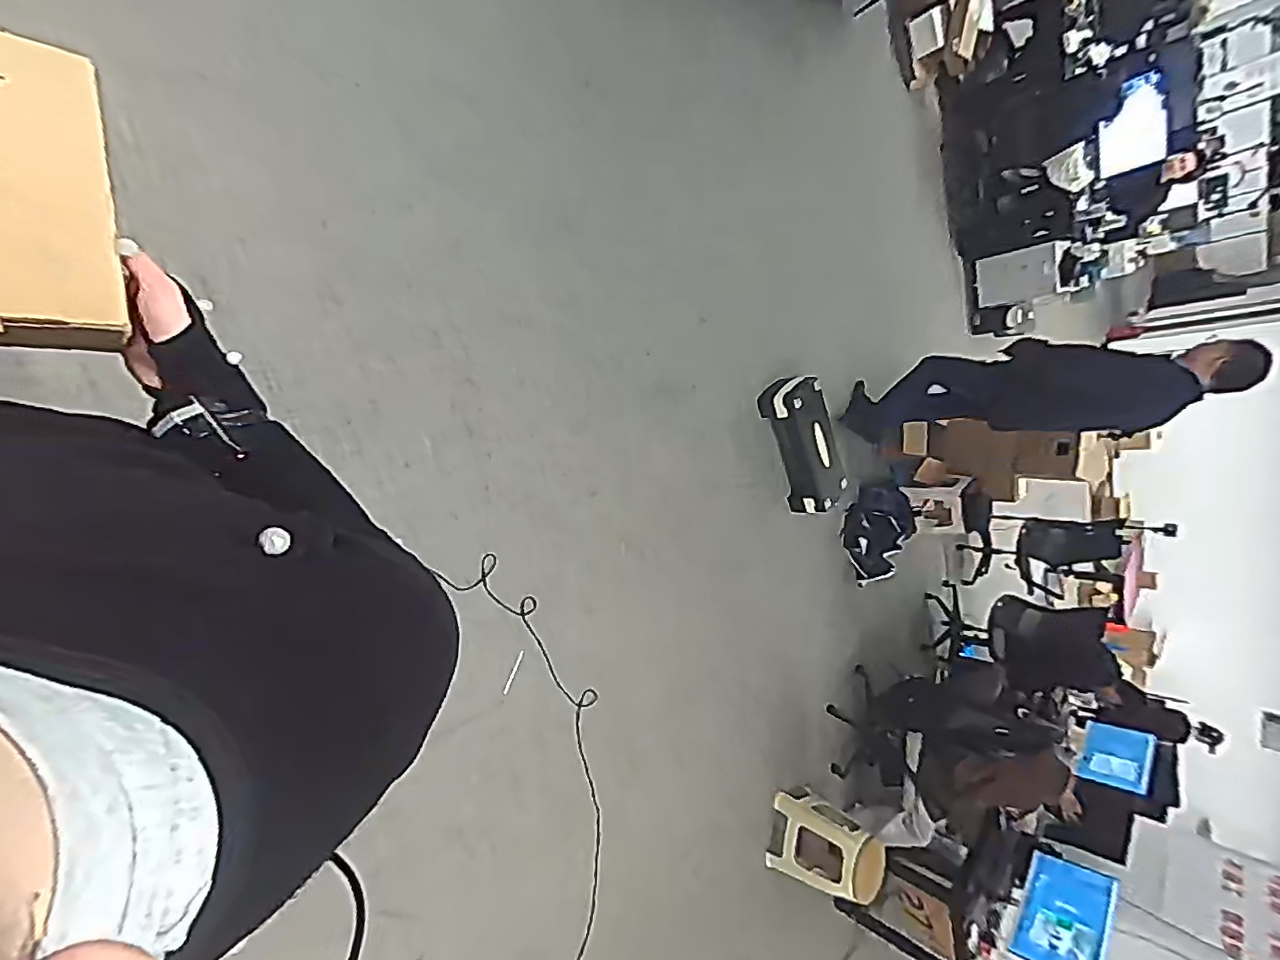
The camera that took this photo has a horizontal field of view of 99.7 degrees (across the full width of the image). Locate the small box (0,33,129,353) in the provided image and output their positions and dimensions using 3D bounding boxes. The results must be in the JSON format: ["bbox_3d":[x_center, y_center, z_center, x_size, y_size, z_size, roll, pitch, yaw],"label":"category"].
[{"bbox_3d":[-0.463,-0.181,0.358,0.168,0.176,0.179,-9,101,-45],"label":"small box"}]
